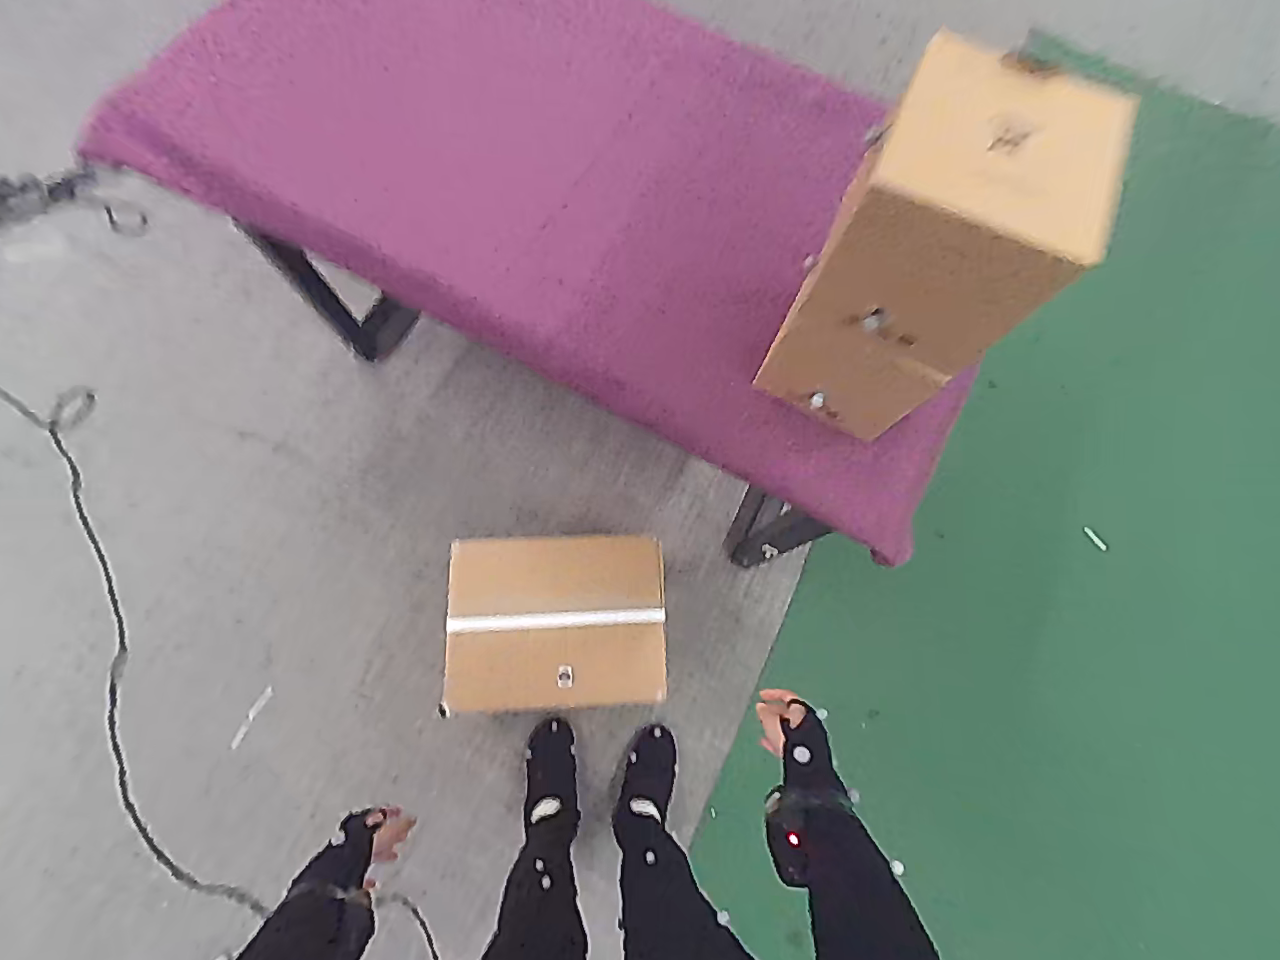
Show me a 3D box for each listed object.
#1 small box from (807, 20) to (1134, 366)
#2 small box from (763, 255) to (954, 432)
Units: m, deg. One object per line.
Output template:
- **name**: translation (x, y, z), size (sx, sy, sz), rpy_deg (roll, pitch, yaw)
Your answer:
- **small box**: translation (0.270, -0.236, 0.478), size (0.168, 0.176, 0.179), rpy_deg (25, 73, 4)
- **small box**: translation (0.263, -0.187, 0.633), size (0.168, 0.176, 0.179), rpy_deg (27, 74, 5)
